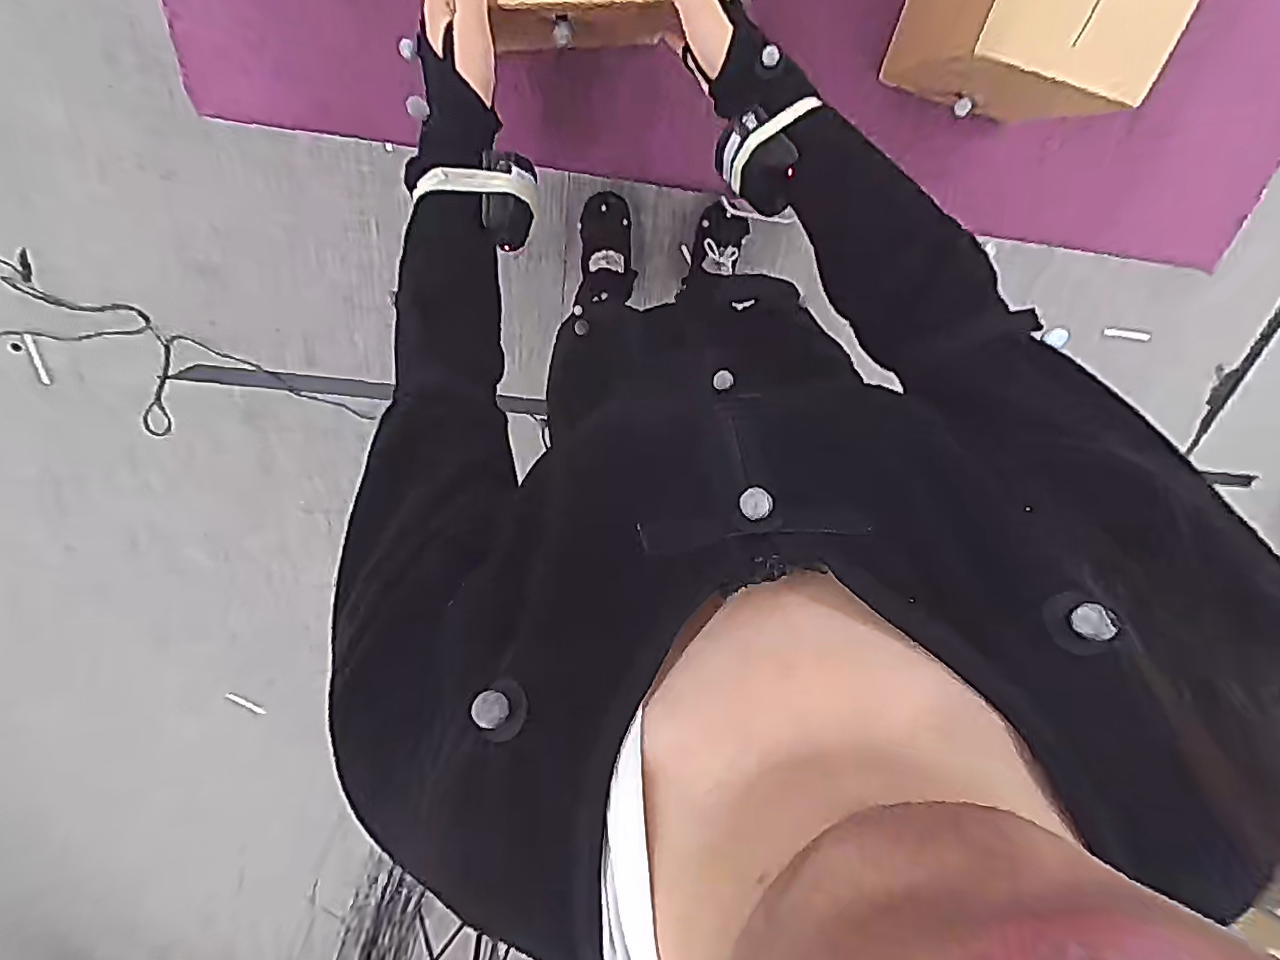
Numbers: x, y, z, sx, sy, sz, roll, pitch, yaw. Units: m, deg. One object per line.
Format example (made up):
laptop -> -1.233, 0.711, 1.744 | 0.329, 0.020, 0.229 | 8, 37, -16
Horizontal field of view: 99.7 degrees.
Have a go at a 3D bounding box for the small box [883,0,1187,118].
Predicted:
small box -> 0.350, -0.445, 0.476 | 0.168, 0.176, 0.179 | 9, 119, -11

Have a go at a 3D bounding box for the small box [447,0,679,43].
small box -> -0.065, -0.463, 0.424 | 0.179, 0.176, 0.168 | -5, 121, -3
